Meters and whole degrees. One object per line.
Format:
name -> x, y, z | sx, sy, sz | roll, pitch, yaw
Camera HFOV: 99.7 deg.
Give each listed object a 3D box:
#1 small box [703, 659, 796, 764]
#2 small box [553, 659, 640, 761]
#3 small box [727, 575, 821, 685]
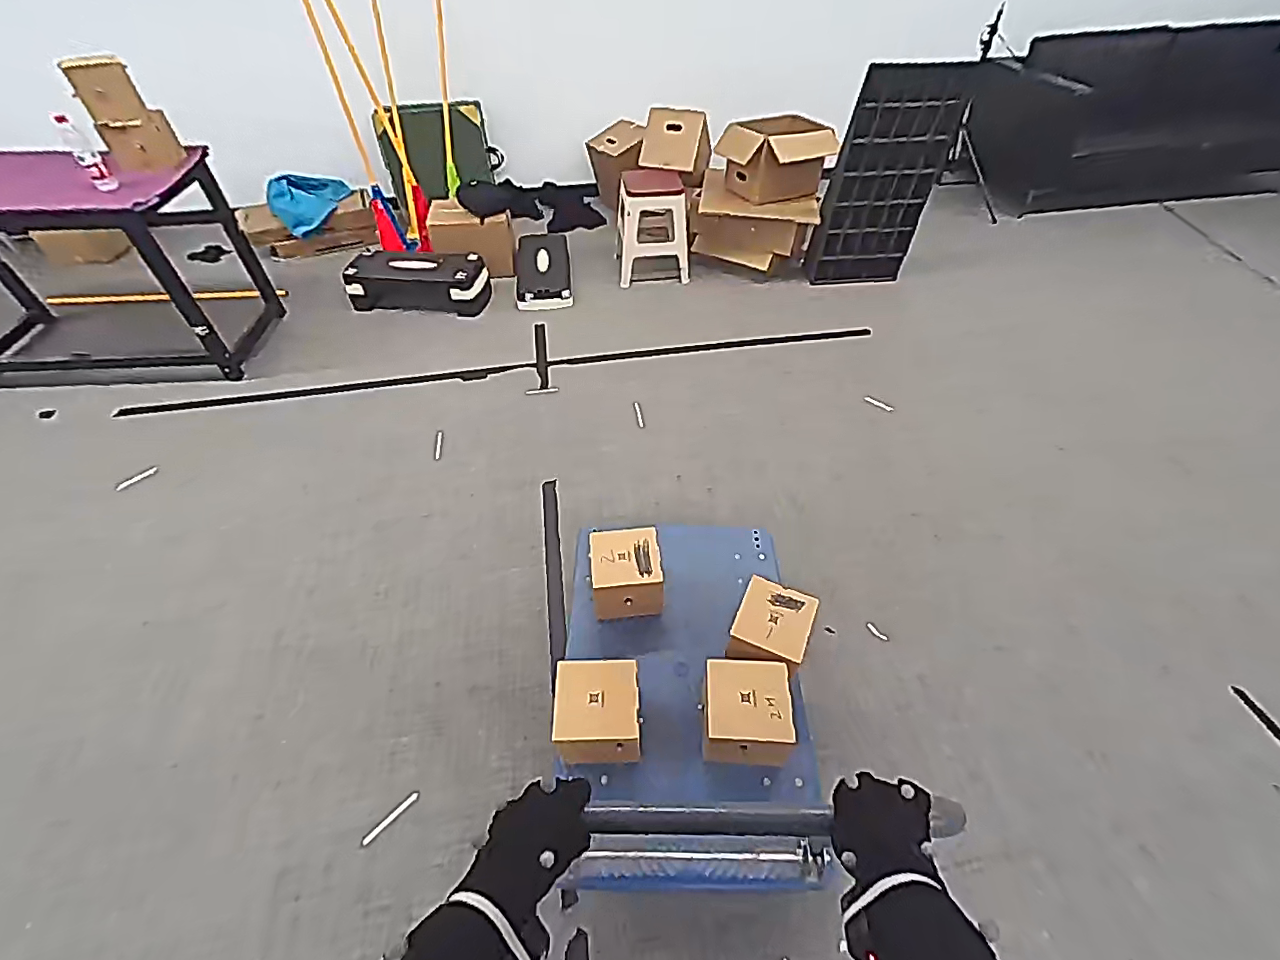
small box -> 0.229, 0.507, 1.178 | 0.179, 0.176, 0.168 | 3, 49, 3
small box -> -0.089, 0.505, 1.184 | 0.179, 0.176, 0.168 | 0, 49, -2
small box -> 0.316, 0.367, 1.300 | 0.168, 0.176, 0.179 | 20, 53, 17
